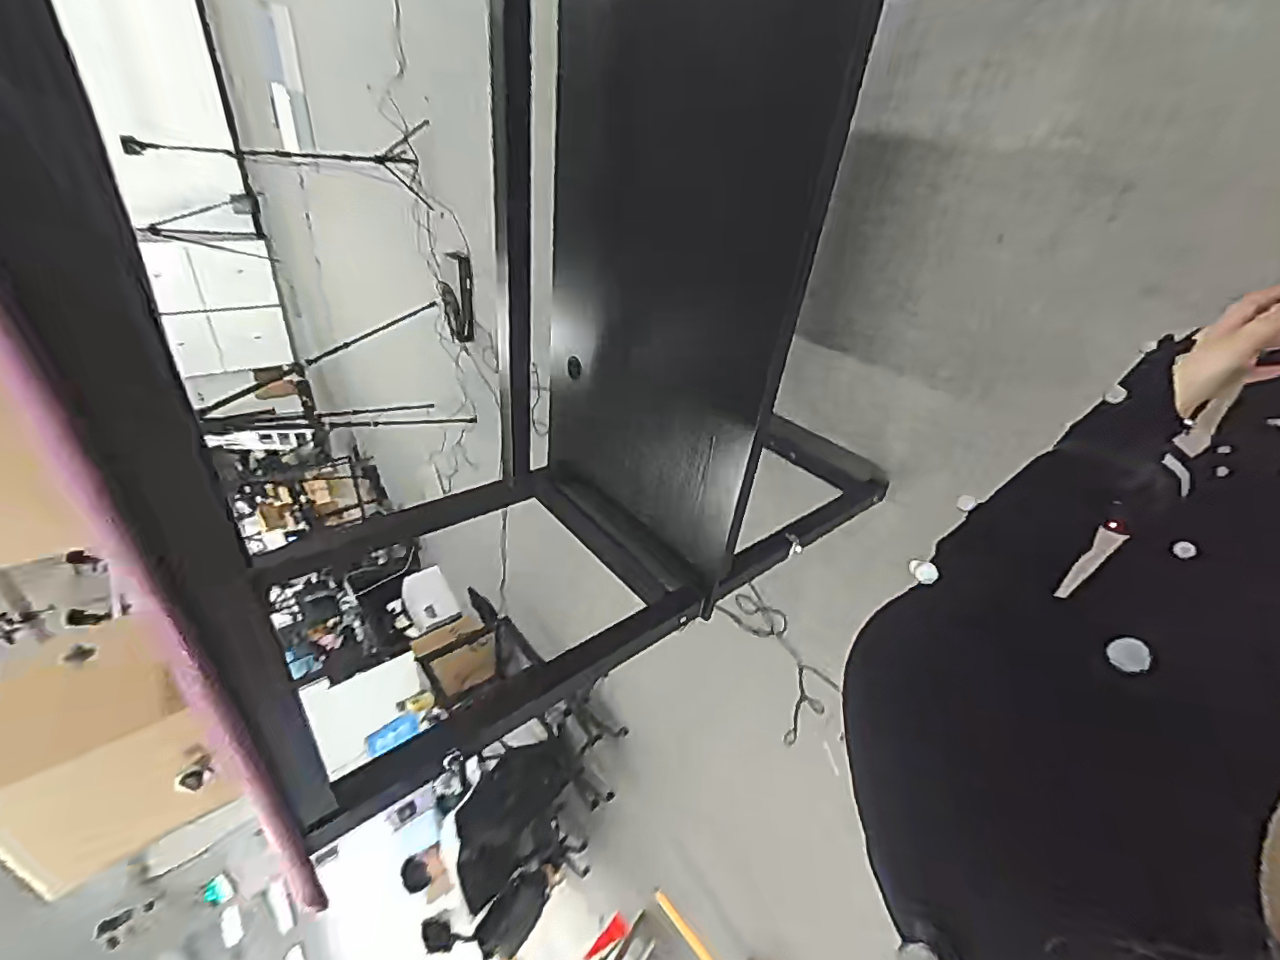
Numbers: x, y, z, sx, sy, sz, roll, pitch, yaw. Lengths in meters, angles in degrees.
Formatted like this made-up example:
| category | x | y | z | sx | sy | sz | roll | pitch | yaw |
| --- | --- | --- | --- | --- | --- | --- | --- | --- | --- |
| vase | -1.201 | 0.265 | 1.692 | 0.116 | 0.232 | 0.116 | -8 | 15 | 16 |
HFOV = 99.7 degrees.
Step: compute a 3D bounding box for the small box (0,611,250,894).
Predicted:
| category | x | y | z | sx | sy | sz | roll | pitch | yaw |
| --- | --- | --- | --- | --- | --- | --- | --- | --- | --- |
| small box | -0.540 | 0.264 | 0.569 | 0.179 | 0.176 | 0.168 | 33 | 132 | 39 |
